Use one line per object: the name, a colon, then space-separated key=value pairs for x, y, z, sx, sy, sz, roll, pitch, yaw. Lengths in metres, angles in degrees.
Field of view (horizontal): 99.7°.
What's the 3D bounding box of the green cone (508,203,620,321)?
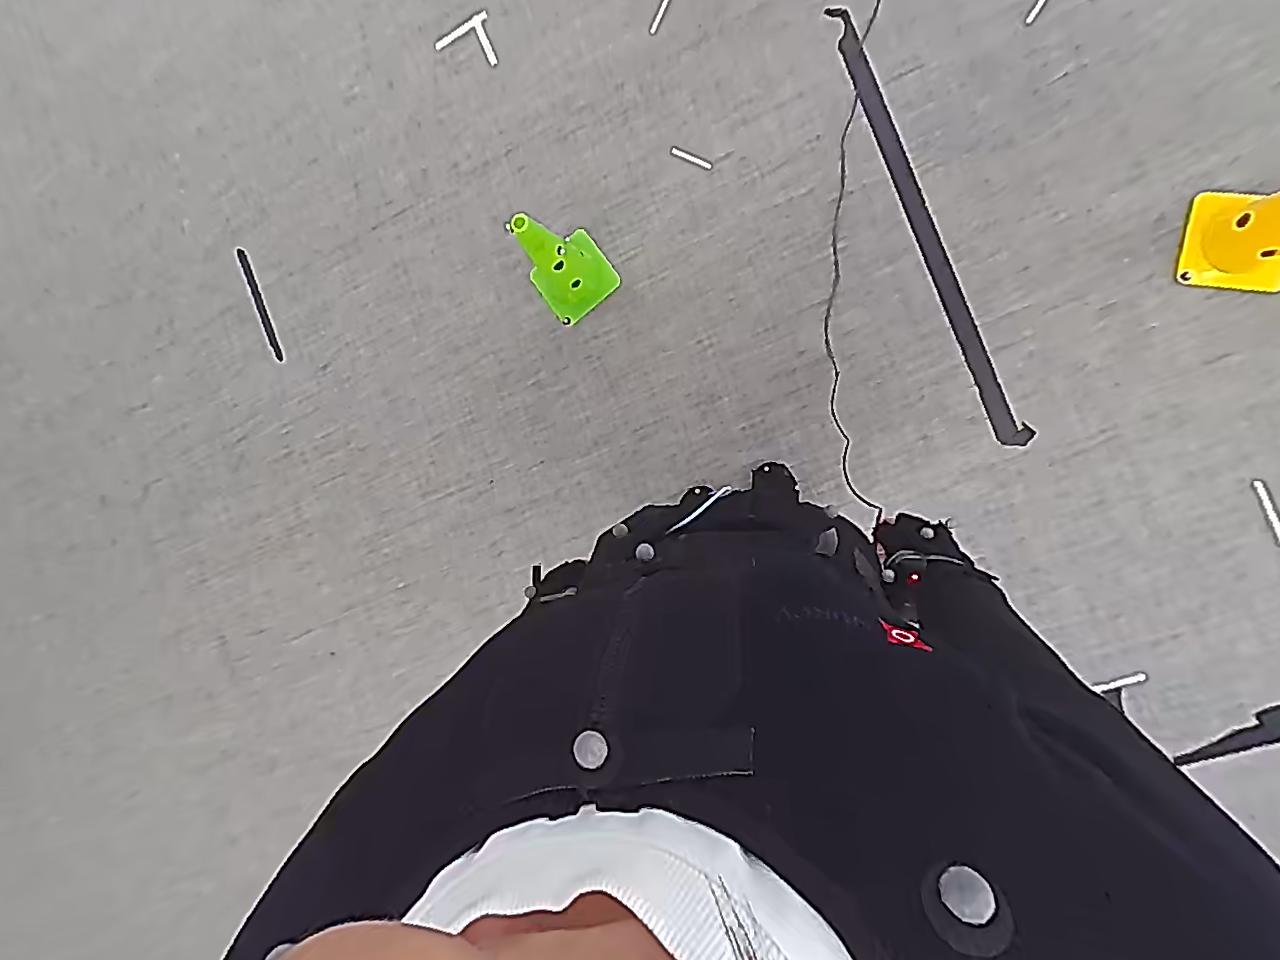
green cone: x=-0.216 y=-0.563 z=1.313 sx=0.200 sy=0.368 sz=0.202 roll=-37 pitch=82 yaw=10
